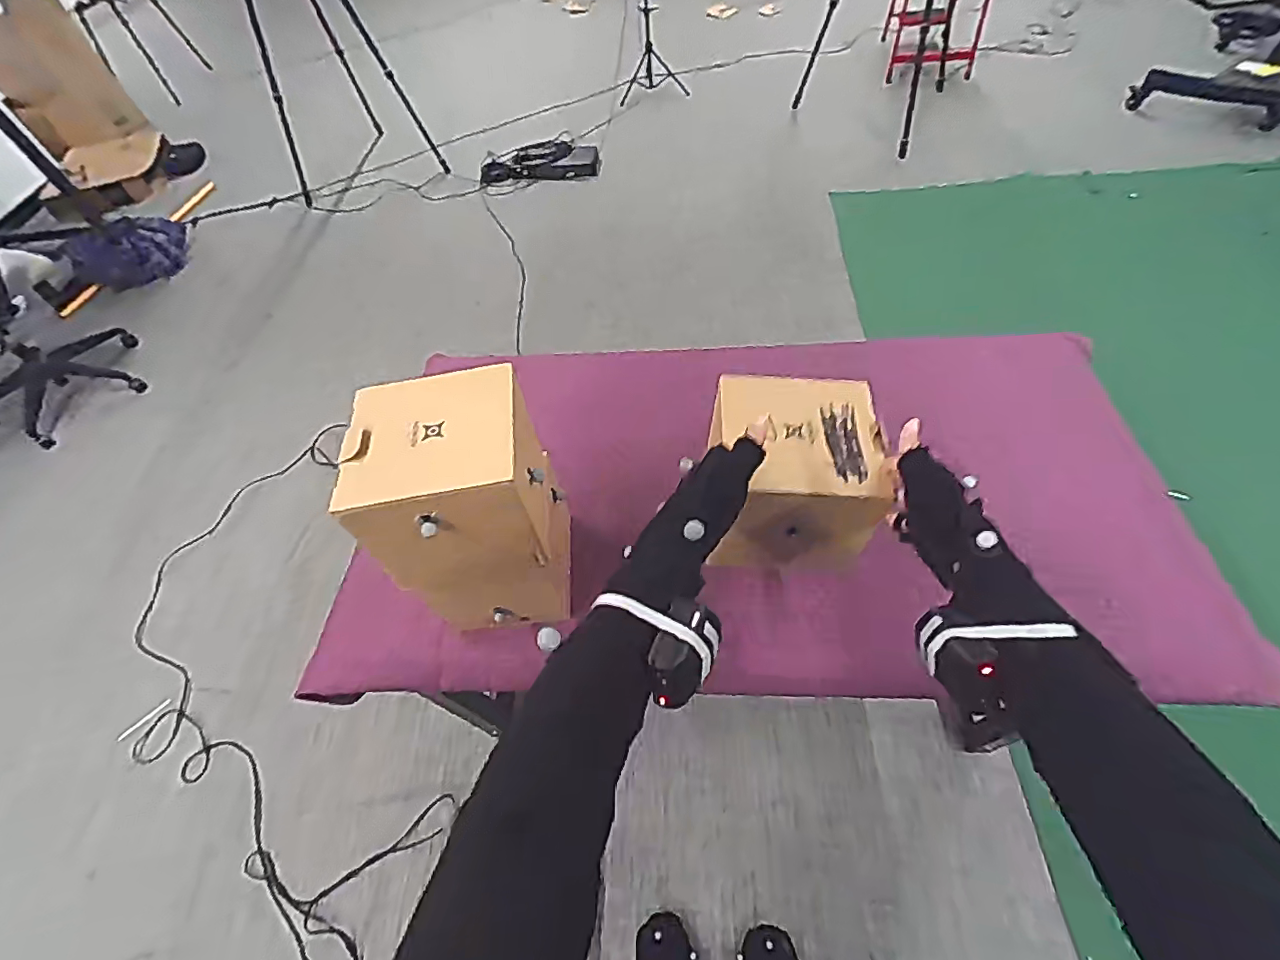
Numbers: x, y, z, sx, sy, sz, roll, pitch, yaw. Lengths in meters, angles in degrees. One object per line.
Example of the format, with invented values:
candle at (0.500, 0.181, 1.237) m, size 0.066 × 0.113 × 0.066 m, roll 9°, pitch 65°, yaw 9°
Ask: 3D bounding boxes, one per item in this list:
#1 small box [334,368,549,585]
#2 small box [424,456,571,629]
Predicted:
small box at (-0.203, 0.002, 0.612) m, size 0.179 × 0.176 × 0.168 m, roll -10°, pitch 54°, yaw -1°
small box at (-0.193, 0.089, 0.750) m, size 0.168 × 0.176 × 0.179 m, roll -5°, pitch 54°, yaw 2°
